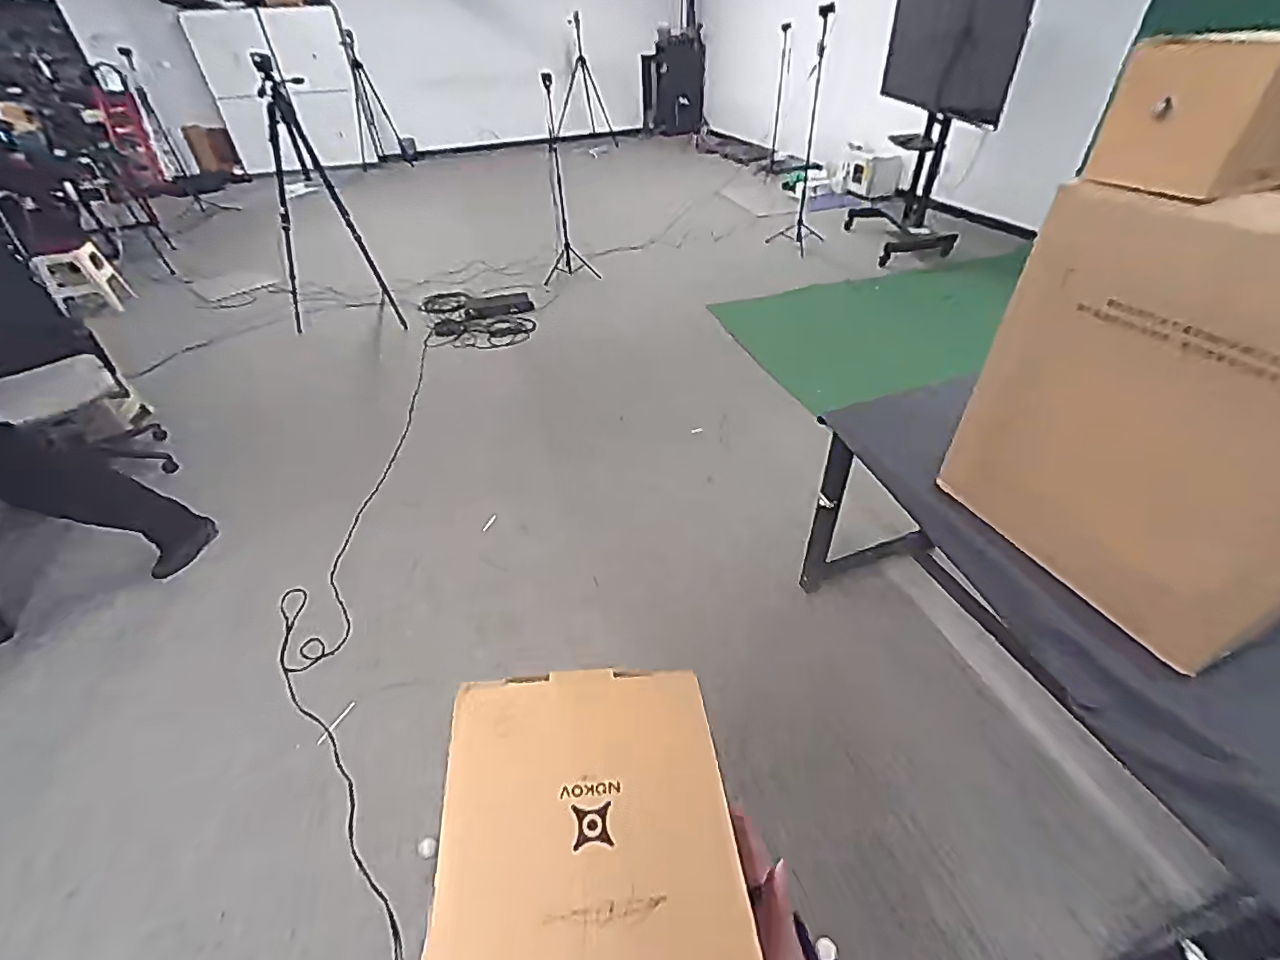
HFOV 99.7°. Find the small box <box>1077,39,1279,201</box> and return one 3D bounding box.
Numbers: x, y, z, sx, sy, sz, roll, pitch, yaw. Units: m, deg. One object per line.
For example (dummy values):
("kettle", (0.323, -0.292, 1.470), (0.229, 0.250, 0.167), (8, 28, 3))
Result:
("small box", (0.774, -0.500, 0.755), (0.168, 0.176, 0.179), (-17, 40, -14))

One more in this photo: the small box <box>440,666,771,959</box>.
("small box", (-0.037, 0.250, 0.366), (0.168, 0.176, 0.179), (1, 42, -12))
